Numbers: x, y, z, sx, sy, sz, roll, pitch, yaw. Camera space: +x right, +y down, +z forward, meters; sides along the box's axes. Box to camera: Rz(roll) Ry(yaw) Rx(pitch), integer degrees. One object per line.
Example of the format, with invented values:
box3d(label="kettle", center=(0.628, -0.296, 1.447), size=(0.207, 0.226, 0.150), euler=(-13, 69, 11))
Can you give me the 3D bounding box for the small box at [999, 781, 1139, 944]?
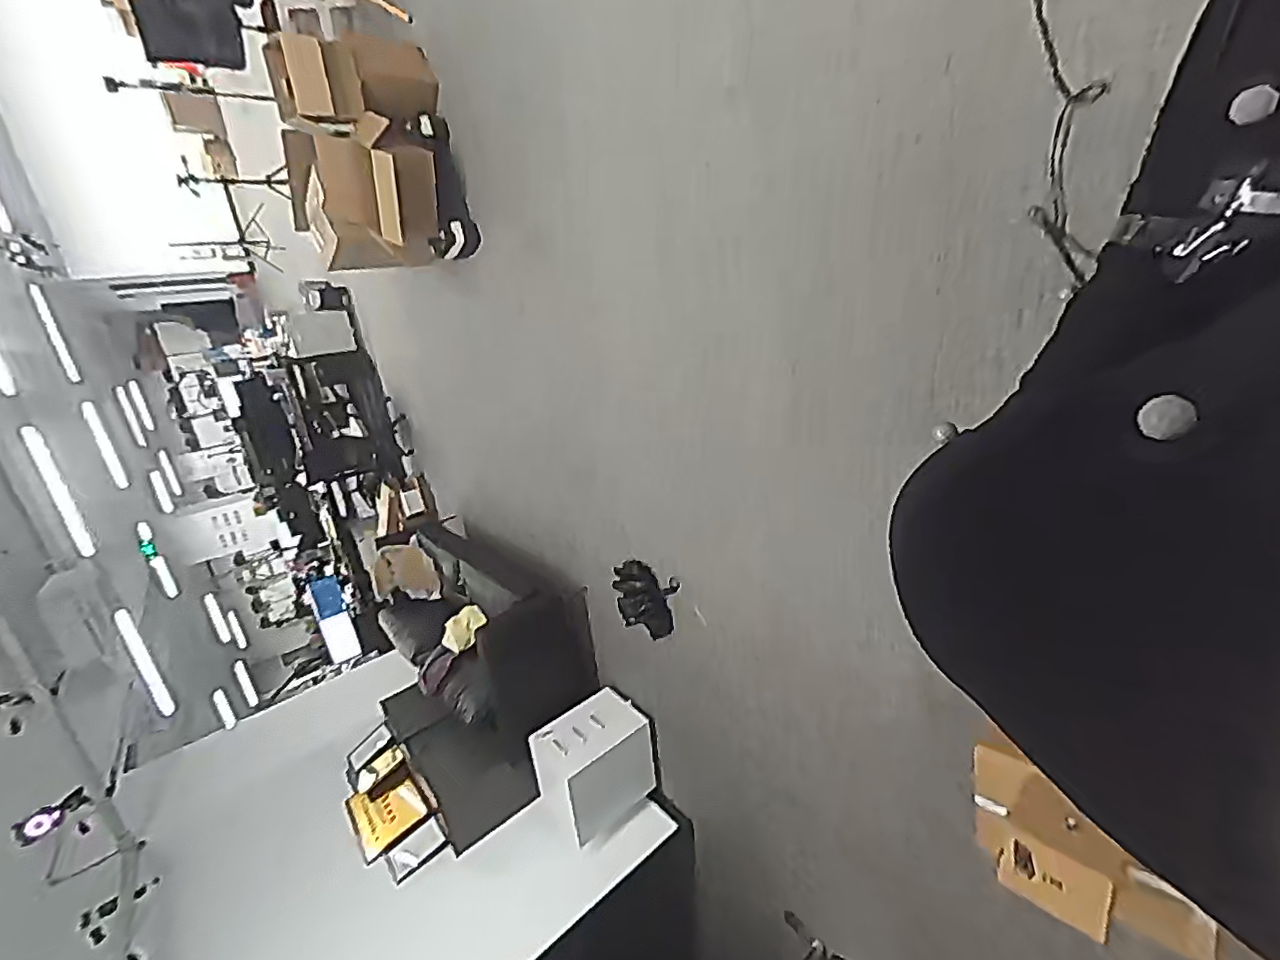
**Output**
box3d(label="small box", center=(0.853, 0.743, 1.080), size=(0.179, 0.176, 0.168), euler=(13, 116, 49))
